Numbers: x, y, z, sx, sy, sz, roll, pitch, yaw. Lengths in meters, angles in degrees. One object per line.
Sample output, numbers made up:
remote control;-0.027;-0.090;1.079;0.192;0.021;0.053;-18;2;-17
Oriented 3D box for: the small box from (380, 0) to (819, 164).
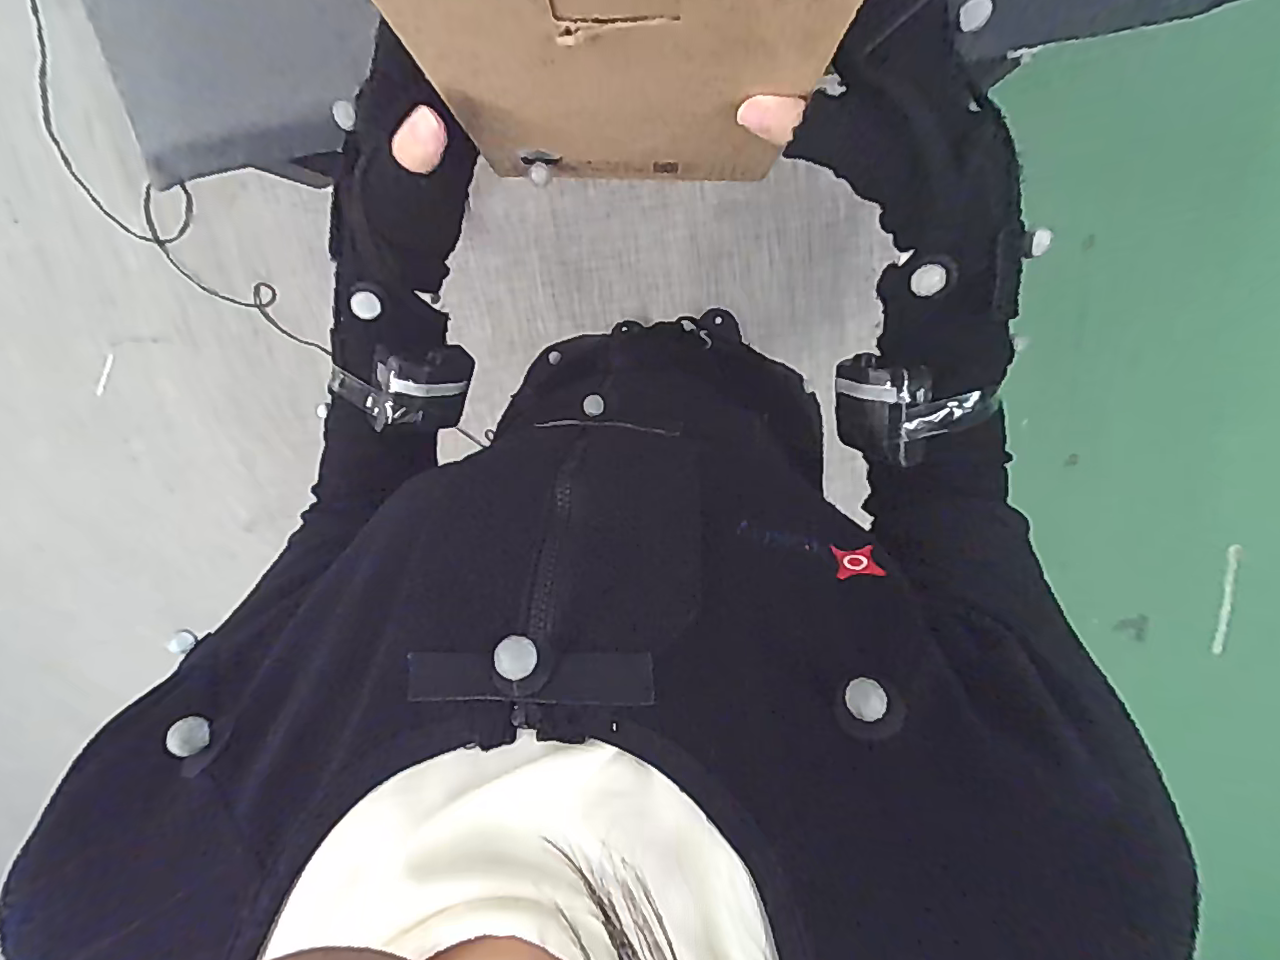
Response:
small box;-0.008;-0.264;0.241;0.168;0.176;0.179;1;100;0
